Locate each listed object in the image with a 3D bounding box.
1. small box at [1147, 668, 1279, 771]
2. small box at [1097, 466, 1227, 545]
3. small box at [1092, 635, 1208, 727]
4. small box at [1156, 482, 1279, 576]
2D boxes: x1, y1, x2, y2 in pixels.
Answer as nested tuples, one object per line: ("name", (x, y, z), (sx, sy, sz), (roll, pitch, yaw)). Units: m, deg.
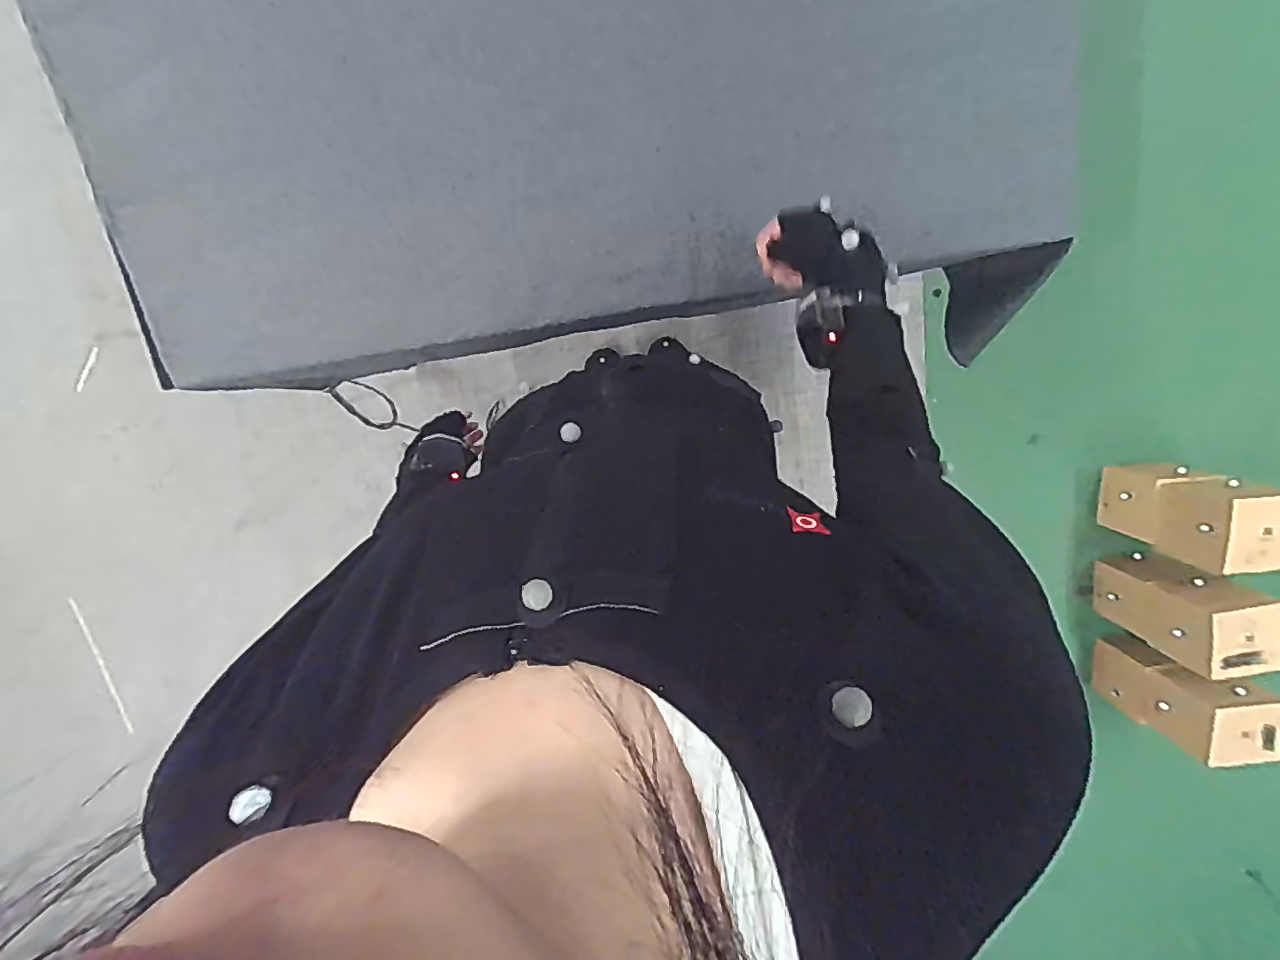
("small box", (1.445, 0.594, 1.360), (0.179, 0.176, 0.168), (-7, 103, 2))
("small box", (1.345, 0.062, 1.407), (0.179, 0.176, 0.168), (-4, 102, 1))
("small box", (1.422, 0.561, 1.519), (0.168, 0.176, 0.179), (-5, 103, 2))
("small box", (1.354, 0.106, 1.248), (0.168, 0.176, 0.179), (-4, 102, 2))
